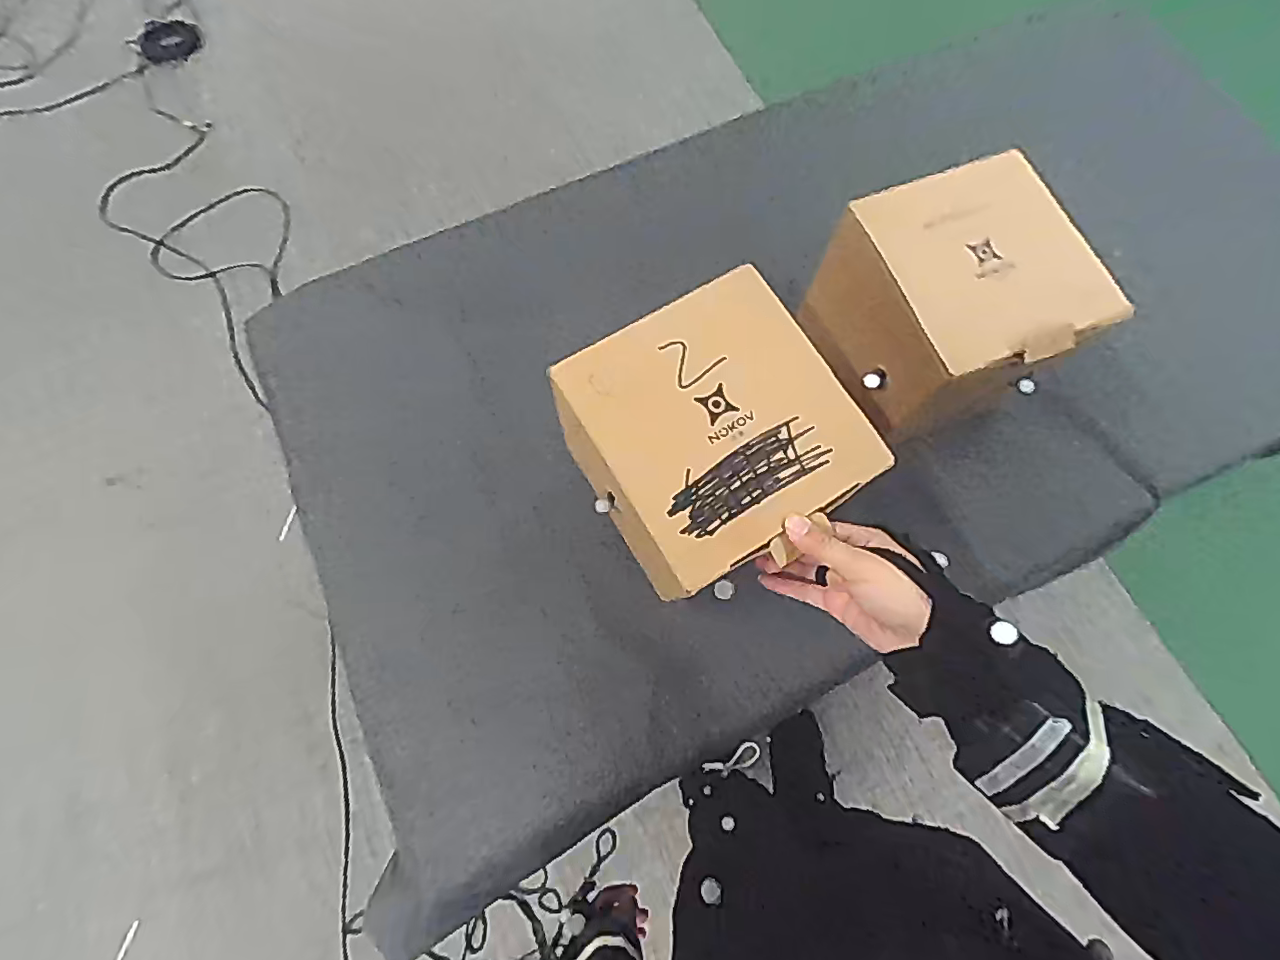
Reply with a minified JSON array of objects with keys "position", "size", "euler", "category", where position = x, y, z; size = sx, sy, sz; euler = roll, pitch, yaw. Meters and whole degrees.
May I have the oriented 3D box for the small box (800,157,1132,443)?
[{"position":[0.278,-0.151,0.511],"size":[0.168,0.176,0.179],"euler":[-21,73,-6],"category":"small box"}]
